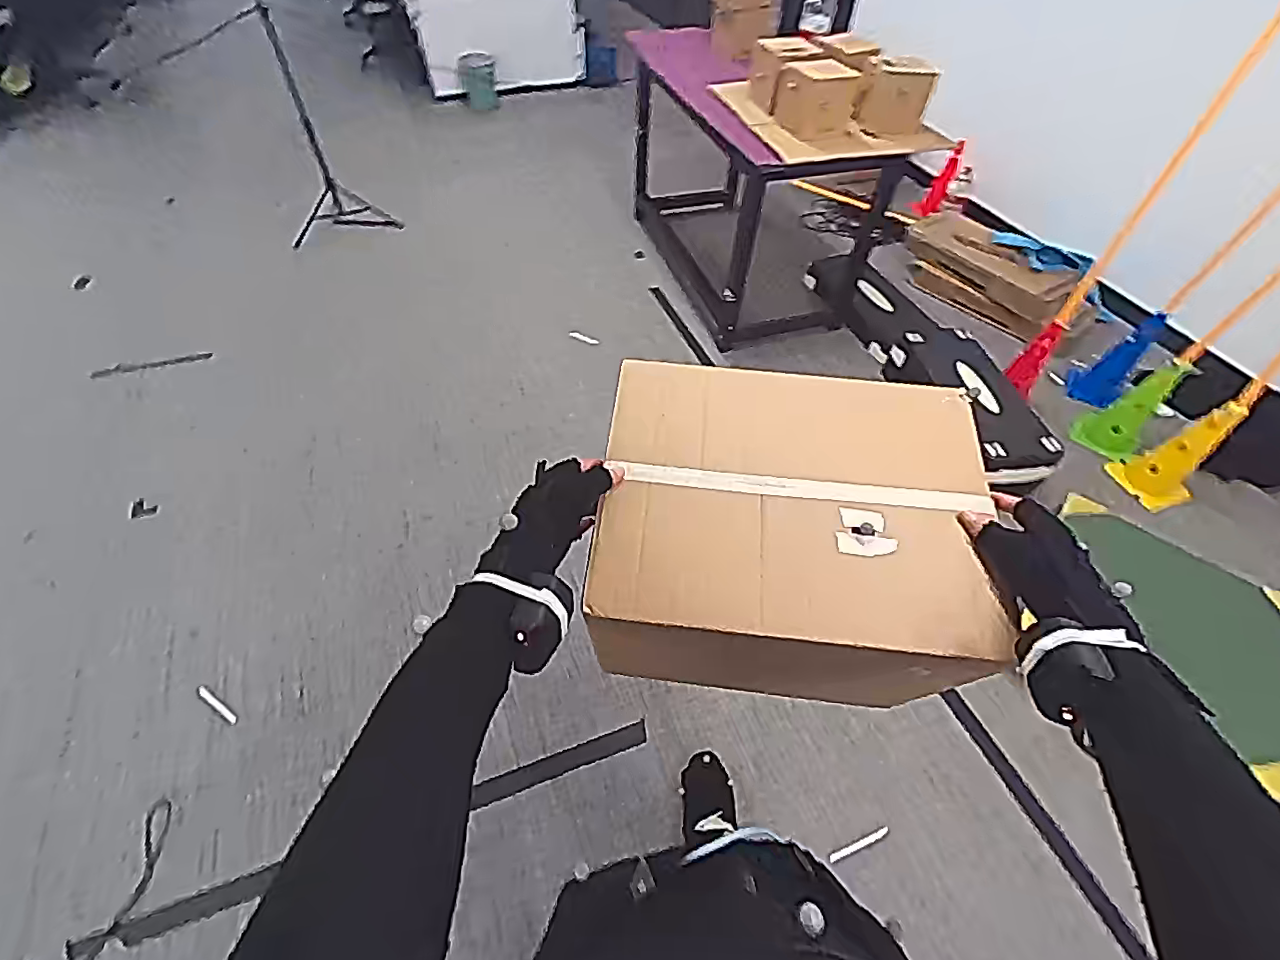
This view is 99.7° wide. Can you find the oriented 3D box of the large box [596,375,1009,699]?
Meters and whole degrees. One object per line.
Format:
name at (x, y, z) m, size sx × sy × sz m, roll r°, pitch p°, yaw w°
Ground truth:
large box at (0.164, 0.090, 0.716) m, size 0.408 × 0.320 × 0.320 m, roll 6°, pitch 62°, yaw 3°
